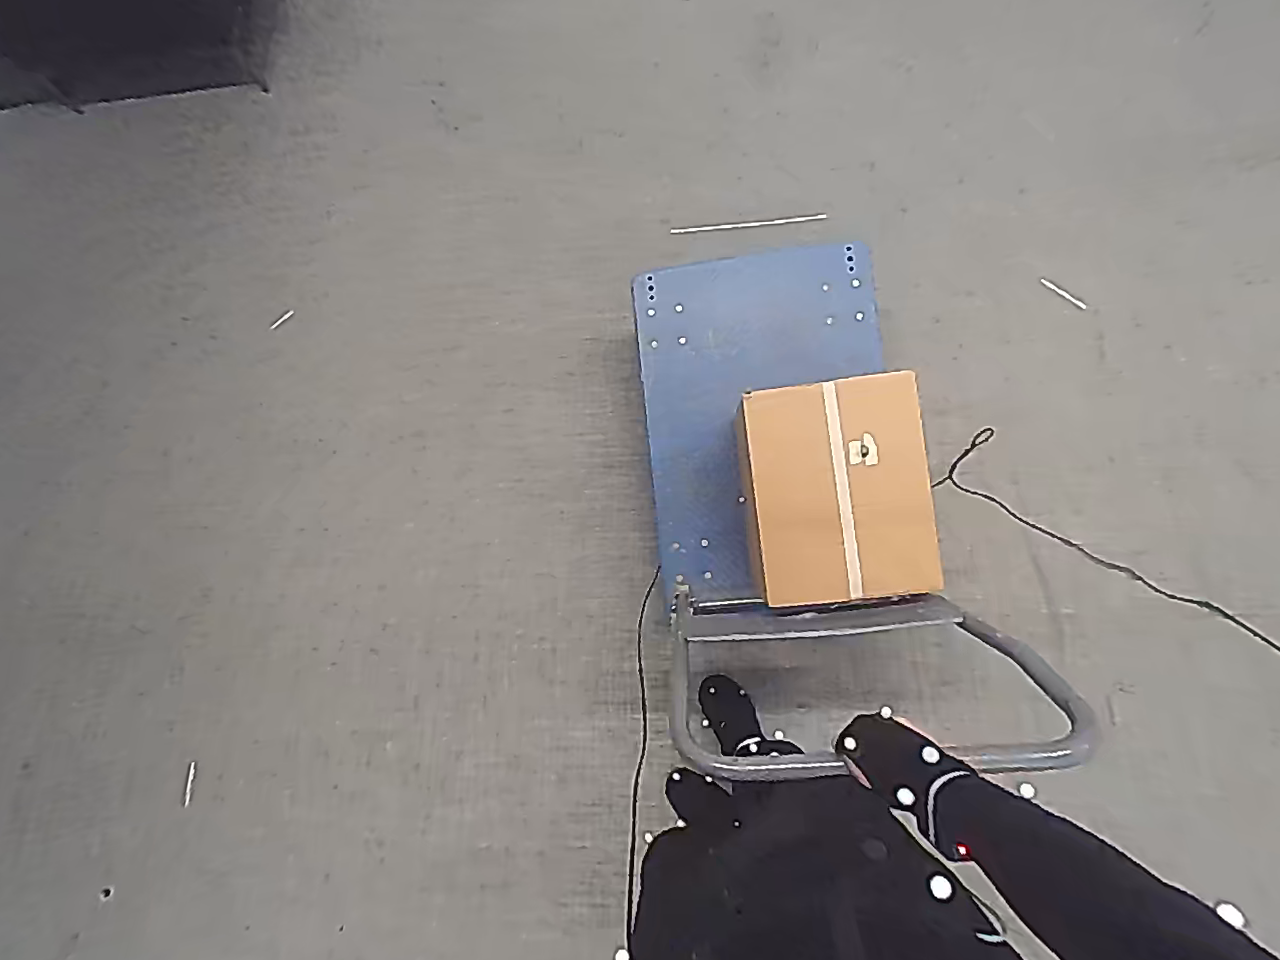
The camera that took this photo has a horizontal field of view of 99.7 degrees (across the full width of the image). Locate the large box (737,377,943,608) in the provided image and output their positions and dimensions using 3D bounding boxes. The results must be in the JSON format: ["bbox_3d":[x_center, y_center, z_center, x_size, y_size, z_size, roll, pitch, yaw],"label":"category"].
[{"bbox_3d":[0.390,0.031,1.148,0.320,0.320,0.408,-7,87,6],"label":"large box"}]
